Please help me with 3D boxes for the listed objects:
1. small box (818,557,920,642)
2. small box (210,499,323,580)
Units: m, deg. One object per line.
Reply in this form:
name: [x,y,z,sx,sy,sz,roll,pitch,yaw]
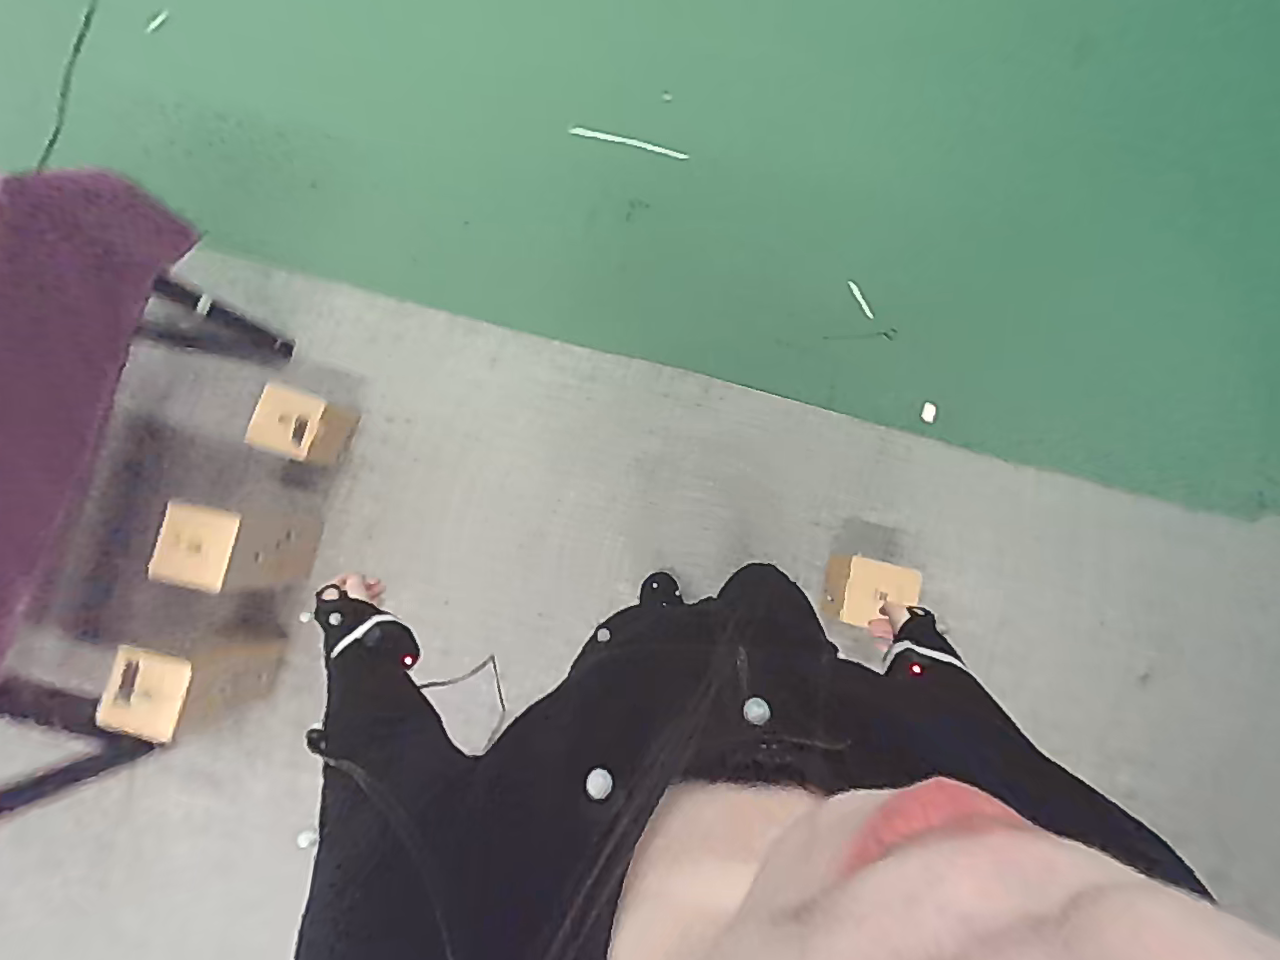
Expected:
small box: [0.578,0.299,1.389,0.179,0.176,0.168,15,85,3]
small box: [-0.998,0.161,1.463,0.168,0.176,0.179,14,84,3]
